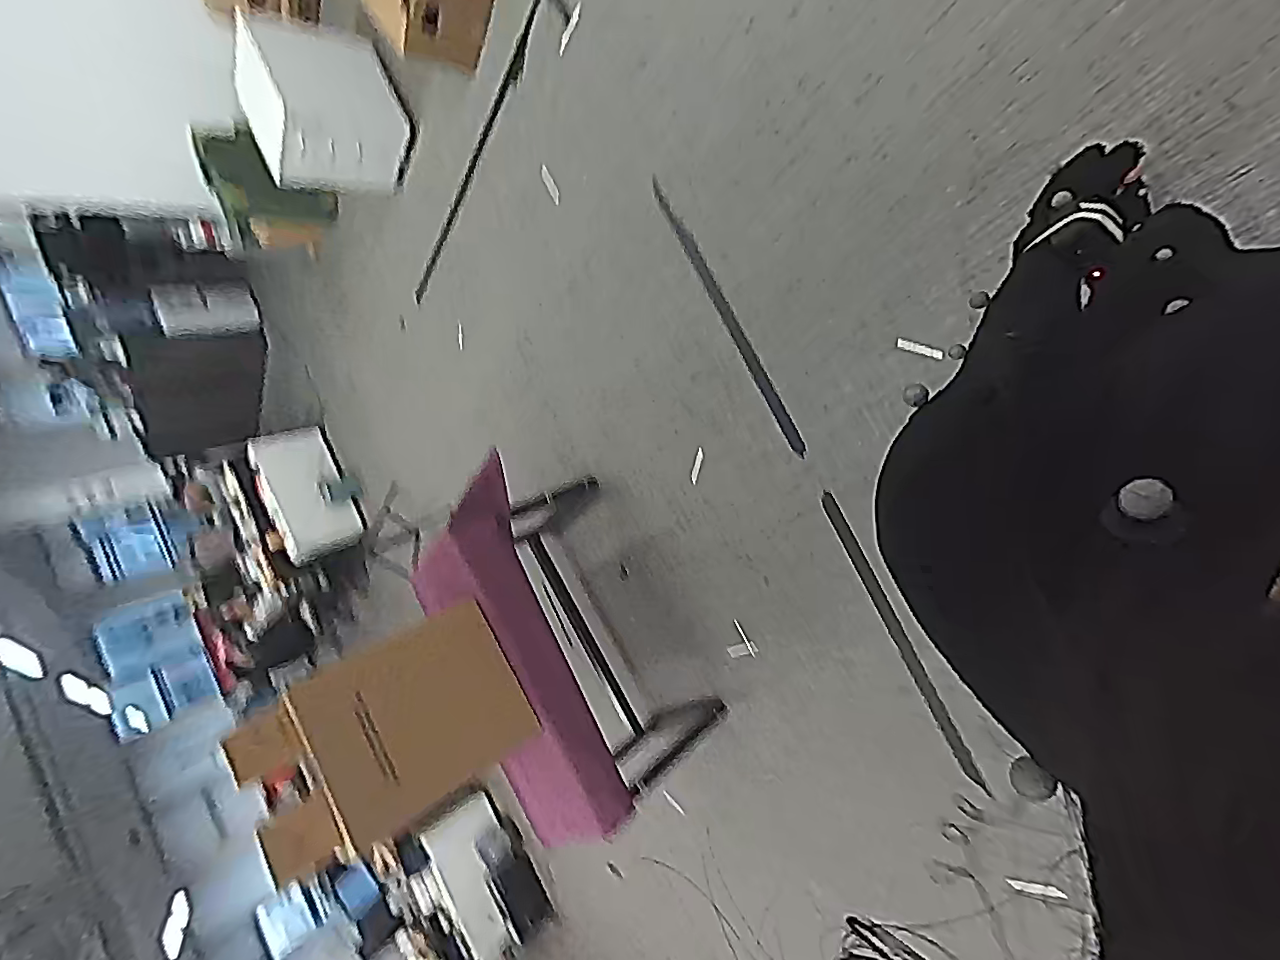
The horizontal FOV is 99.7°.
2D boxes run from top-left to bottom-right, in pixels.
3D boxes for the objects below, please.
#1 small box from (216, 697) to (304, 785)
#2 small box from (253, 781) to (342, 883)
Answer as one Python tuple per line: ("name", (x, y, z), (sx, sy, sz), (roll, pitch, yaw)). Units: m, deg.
("small box", (-1.116, 0.767, 1.594), (0.168, 0.176, 0.179), (58, 137, 10))
("small box", (-0.981, 1.000, 1.549), (0.168, 0.176, 0.179), (-38, 78, 46))
